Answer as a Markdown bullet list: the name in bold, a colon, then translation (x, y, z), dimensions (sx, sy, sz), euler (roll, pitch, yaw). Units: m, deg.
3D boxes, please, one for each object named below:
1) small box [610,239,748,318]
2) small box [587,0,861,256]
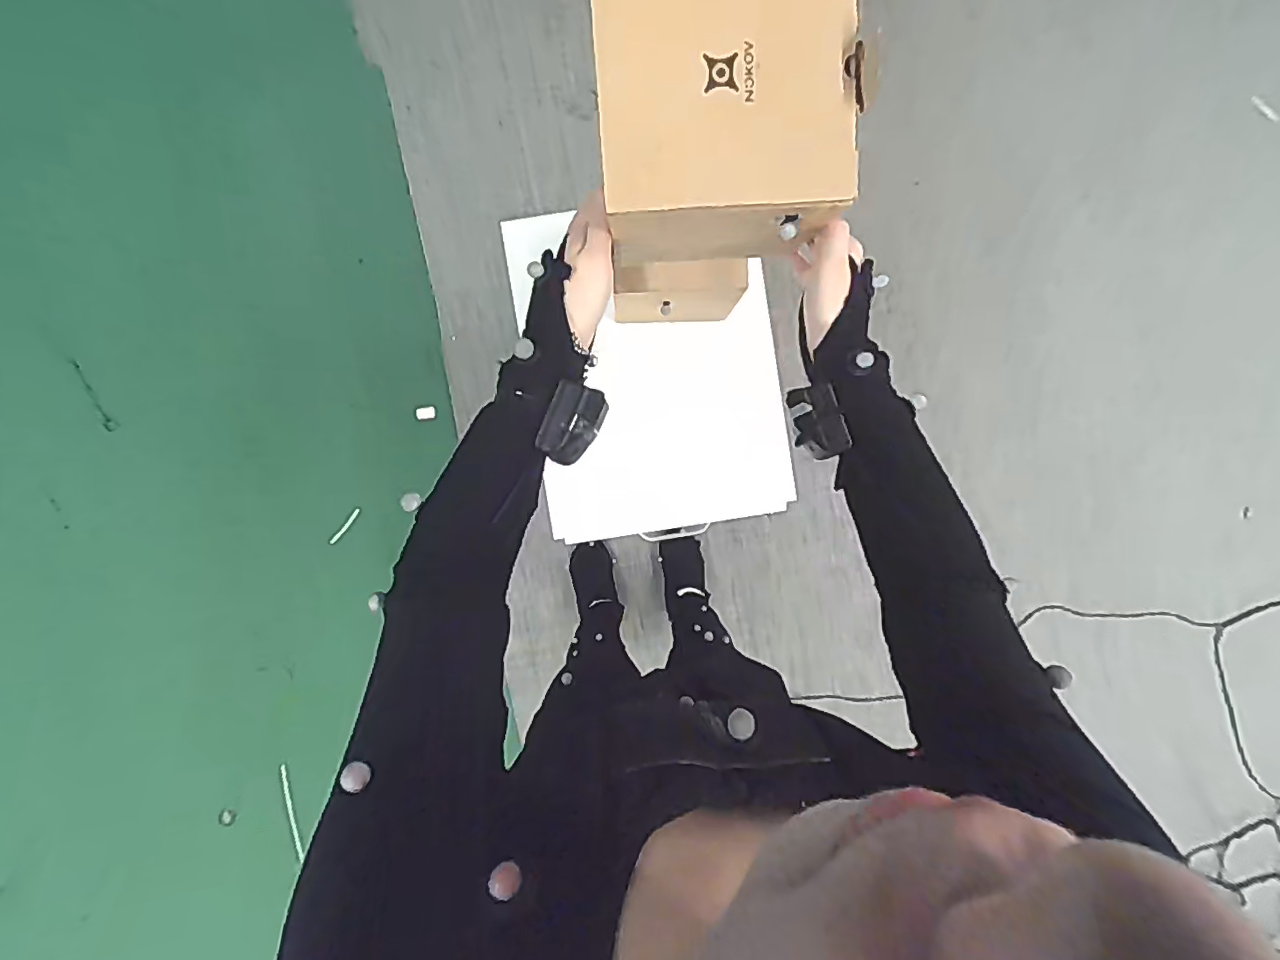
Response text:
- **small box**: translation (0.049, -0.332, 0.764), dimensions (0.179, 0.176, 0.168), euler (-2, 93, 0)
- **small box**: translation (0.055, -0.284, 0.427), dimensions (0.179, 0.176, 0.168), euler (-4, 101, -1)
